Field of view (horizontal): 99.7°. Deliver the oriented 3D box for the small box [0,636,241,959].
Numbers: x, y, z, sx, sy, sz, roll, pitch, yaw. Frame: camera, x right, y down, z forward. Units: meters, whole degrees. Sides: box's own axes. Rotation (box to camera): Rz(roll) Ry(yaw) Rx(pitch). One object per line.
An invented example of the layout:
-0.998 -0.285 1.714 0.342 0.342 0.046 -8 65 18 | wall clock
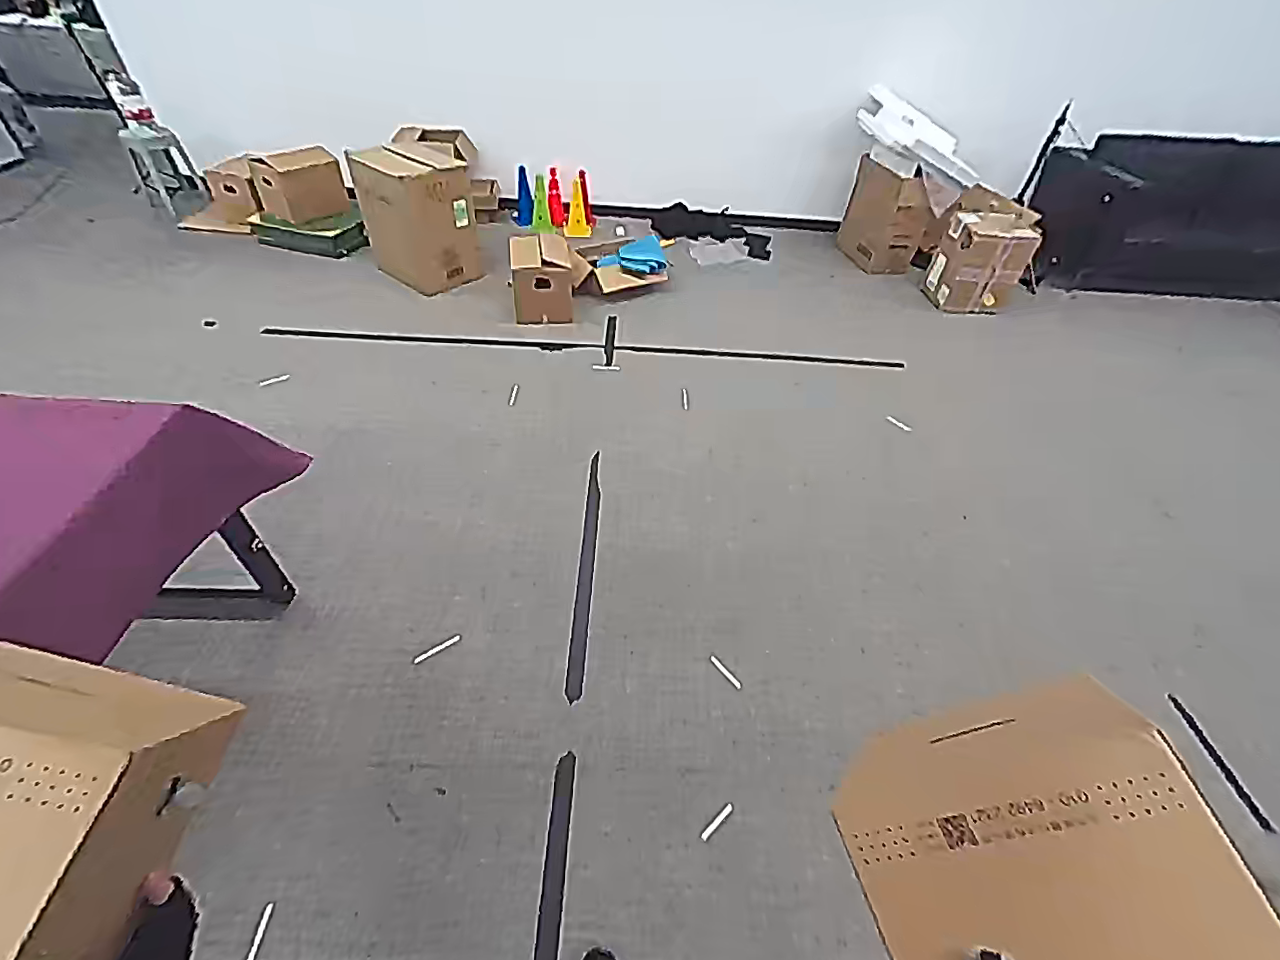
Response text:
-0.357 0.181 0.278 0.168 0.179 0.176 23 68 -13 | small box
